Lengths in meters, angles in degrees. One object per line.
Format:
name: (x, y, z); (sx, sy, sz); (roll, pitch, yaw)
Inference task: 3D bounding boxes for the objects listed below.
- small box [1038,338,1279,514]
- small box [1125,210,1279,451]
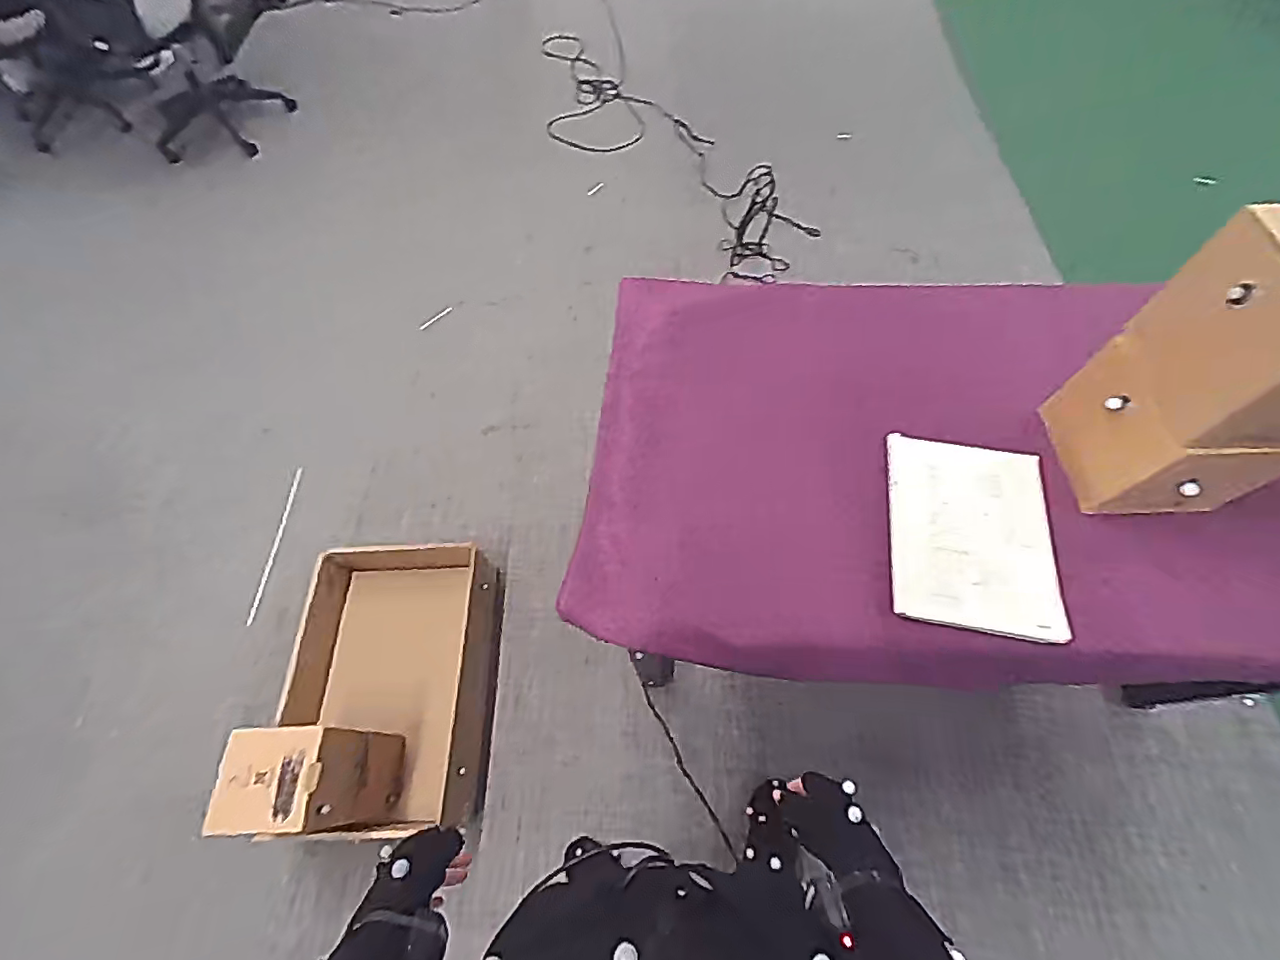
small box: (0.665, -0.063, 0.693); (0.168, 0.176, 0.179); (-2, 61, 3)
small box: (0.659, -0.146, 0.550); (0.168, 0.176, 0.179); (1, 62, 4)
